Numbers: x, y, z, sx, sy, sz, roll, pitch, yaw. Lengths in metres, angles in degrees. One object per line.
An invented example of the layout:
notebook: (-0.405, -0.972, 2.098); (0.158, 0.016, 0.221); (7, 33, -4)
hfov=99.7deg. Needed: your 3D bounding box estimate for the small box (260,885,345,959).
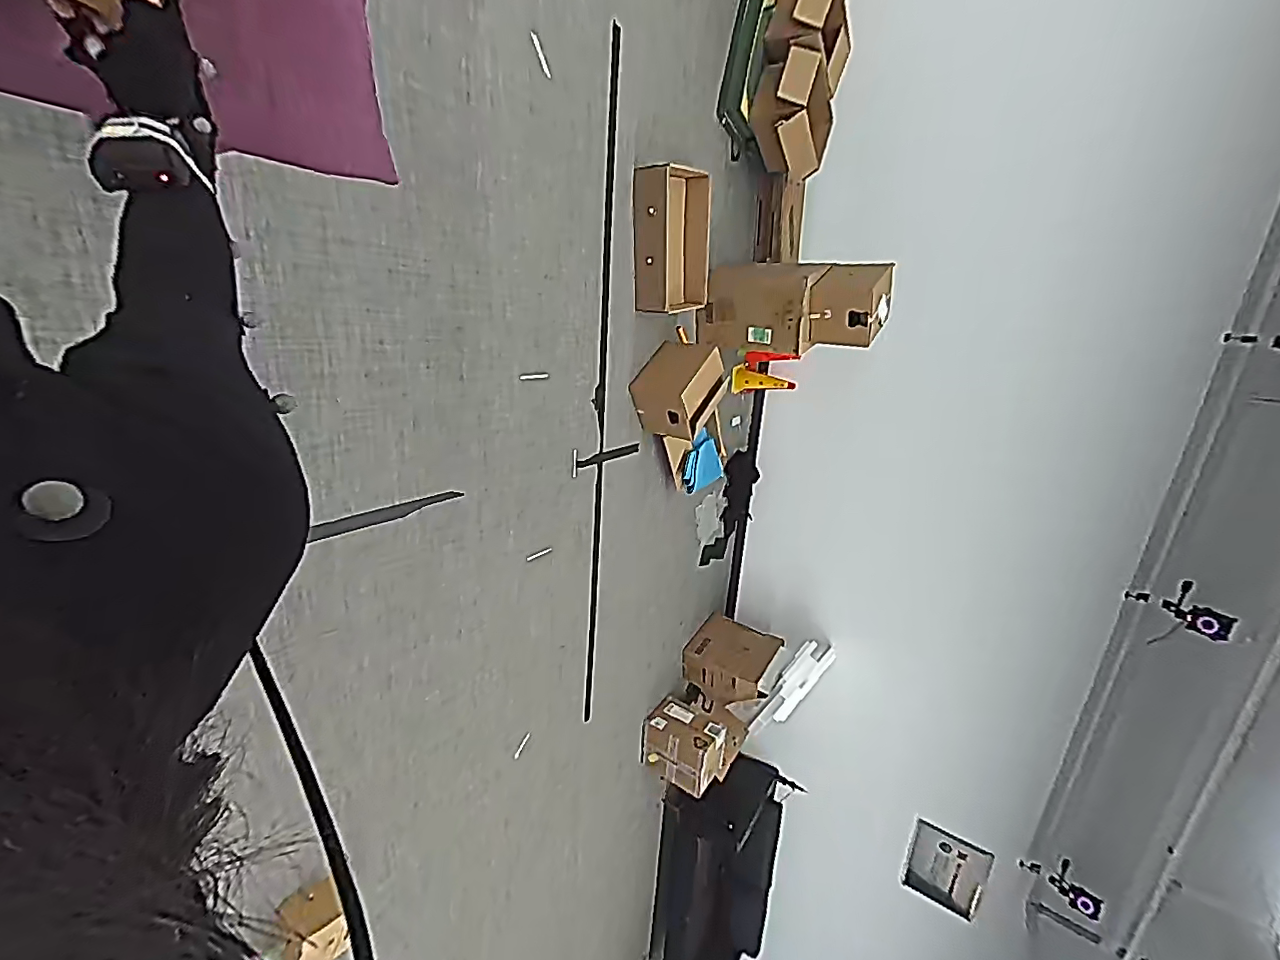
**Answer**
small box: (-1.101, 1.484, 1.759); (0.179, 0.176, 0.168); (1, 102, -59)
